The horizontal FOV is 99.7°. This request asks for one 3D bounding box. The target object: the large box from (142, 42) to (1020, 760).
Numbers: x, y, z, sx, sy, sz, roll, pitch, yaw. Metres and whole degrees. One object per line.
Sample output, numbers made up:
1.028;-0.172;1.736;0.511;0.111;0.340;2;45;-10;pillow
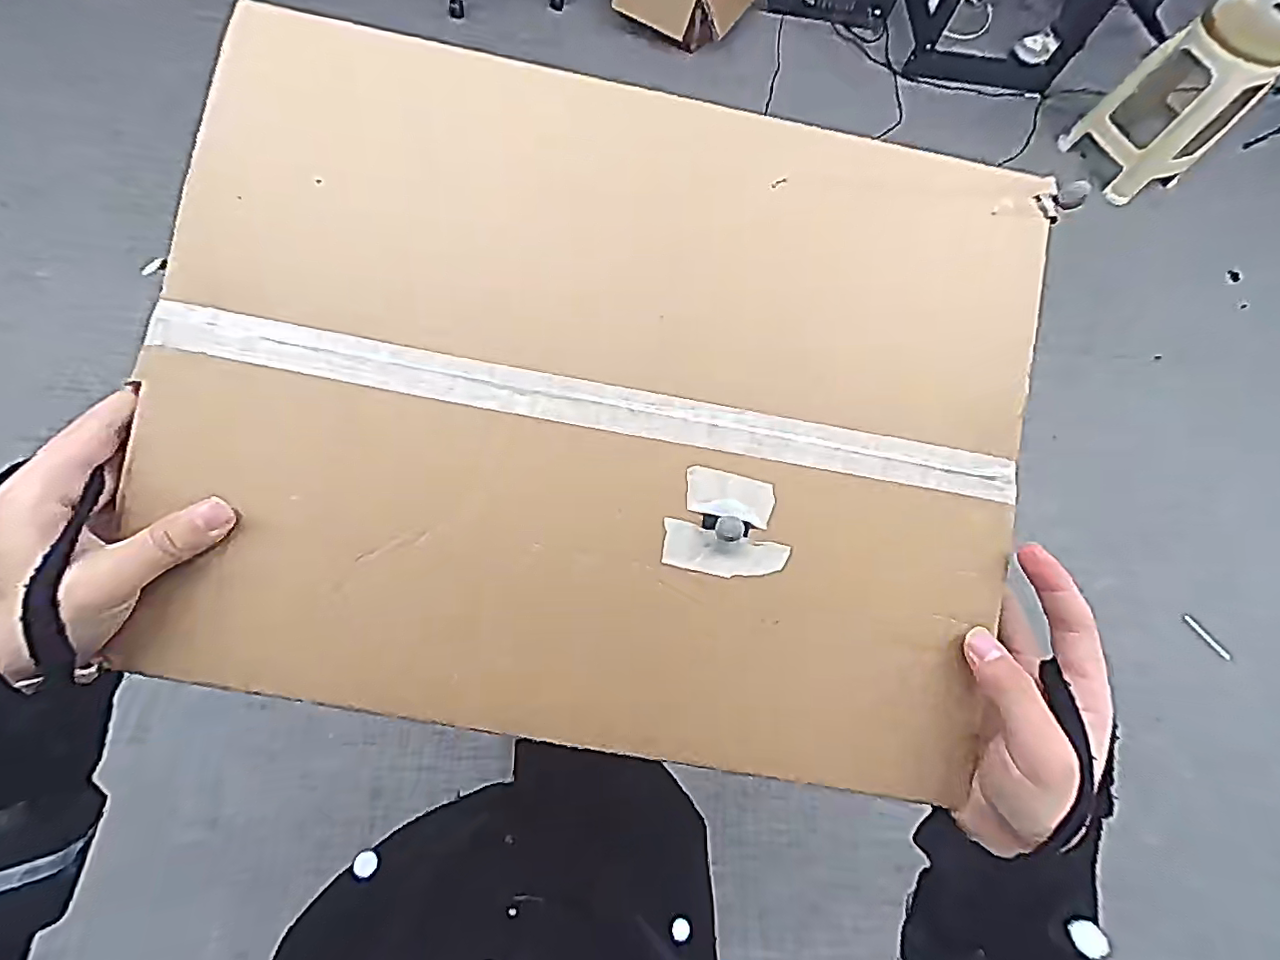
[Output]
-0.024;-0.033;0.420;0.408;0.320;0.320;11;87;-3;large box
